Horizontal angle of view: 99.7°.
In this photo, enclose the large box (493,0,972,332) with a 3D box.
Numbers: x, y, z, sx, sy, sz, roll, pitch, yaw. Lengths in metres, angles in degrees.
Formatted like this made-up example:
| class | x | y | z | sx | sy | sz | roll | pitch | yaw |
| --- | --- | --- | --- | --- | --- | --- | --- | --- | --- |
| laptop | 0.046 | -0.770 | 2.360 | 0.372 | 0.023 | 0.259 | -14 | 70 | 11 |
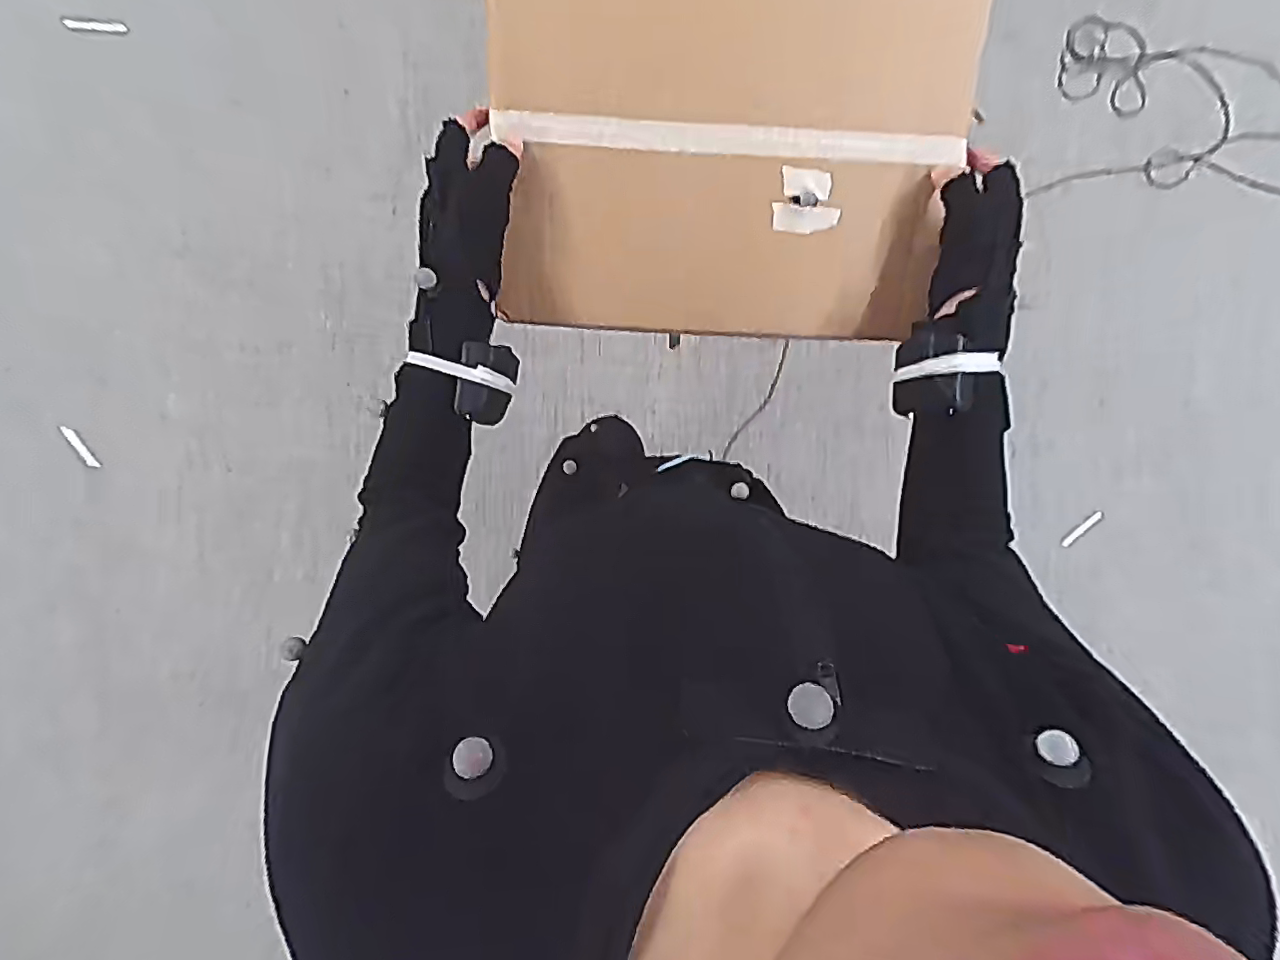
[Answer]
| class | x | y | z | sx | sy | sz | roll | pitch | yaw |
| --- | --- | --- | --- | --- | --- | --- | --- | --- | --- |
| large box | 0.067 | -0.336 | 0.612 | 0.408 | 0.320 | 0.320 | 2 | 105 | -4 |
